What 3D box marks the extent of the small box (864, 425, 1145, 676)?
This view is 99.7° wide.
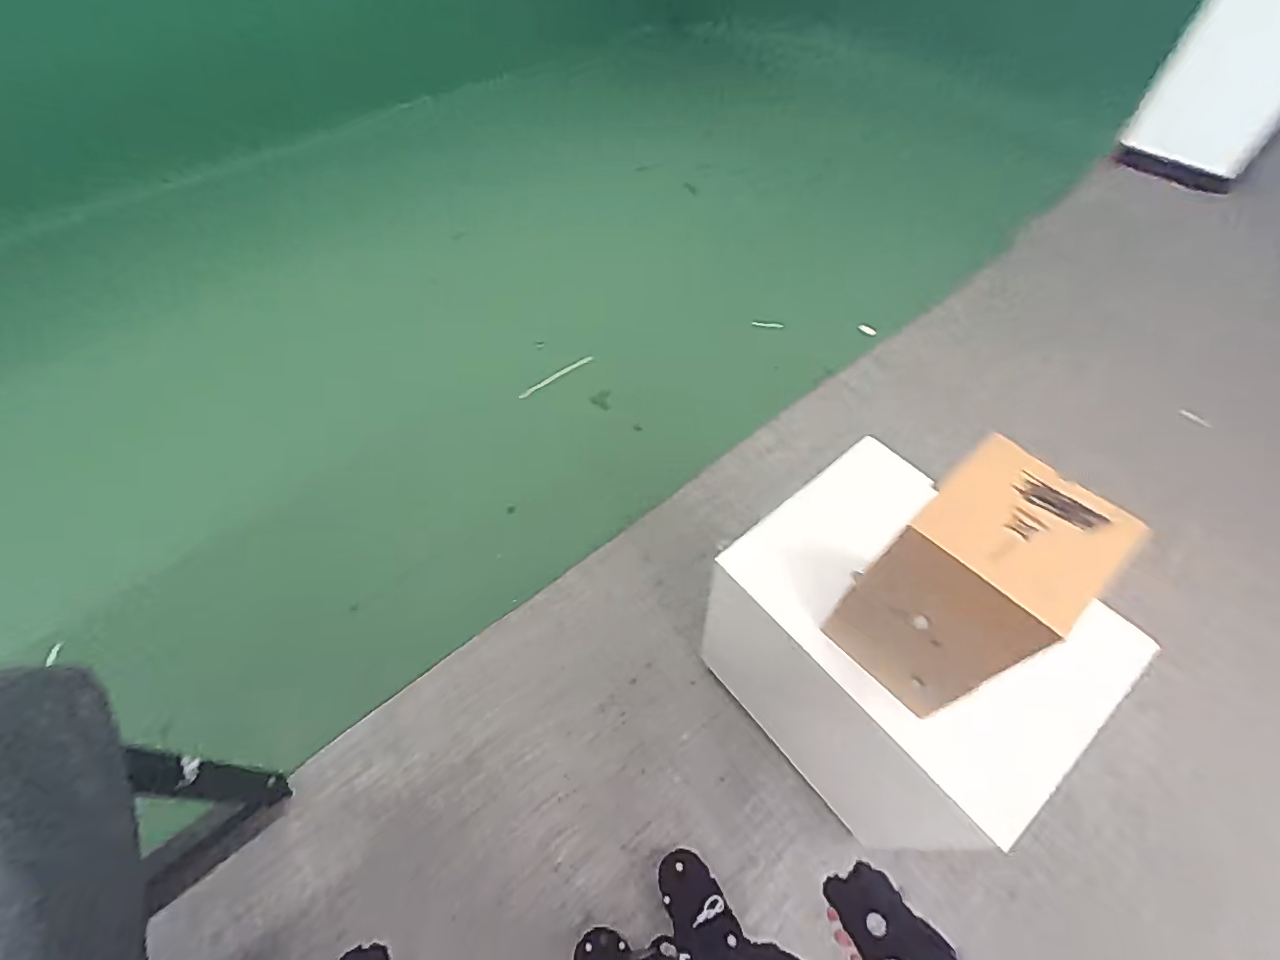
[{"bbox_3d":[0.379,0.080,0.594,0.179,0.176,0.168,-39,63,-23],"label":"small box"}]

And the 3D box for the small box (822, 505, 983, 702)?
[{"bbox_3d":[0.378,0.173,0.729,0.168,0.176,0.179,-38,61,-21],"label":"small box"}]
